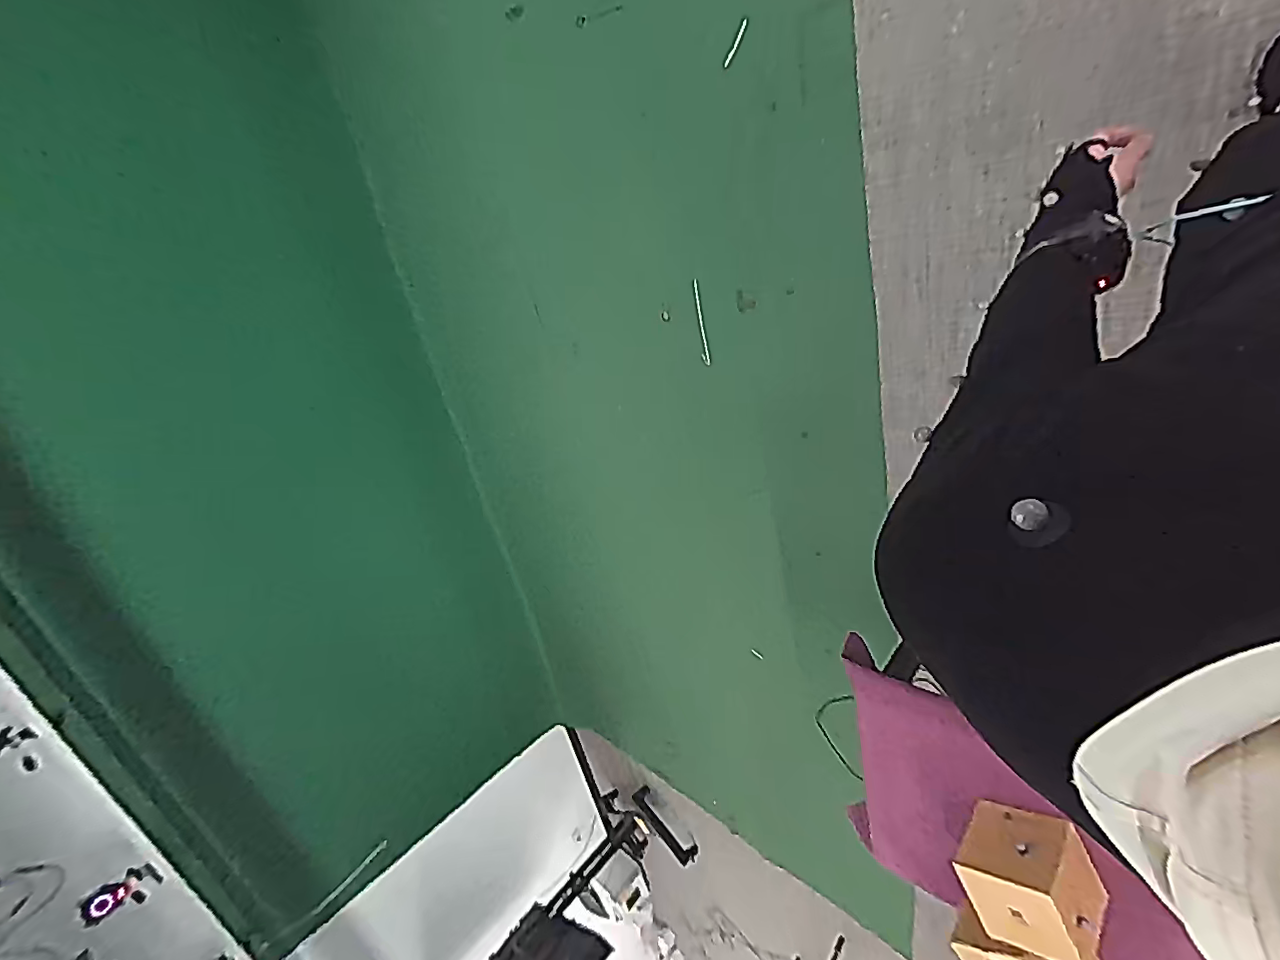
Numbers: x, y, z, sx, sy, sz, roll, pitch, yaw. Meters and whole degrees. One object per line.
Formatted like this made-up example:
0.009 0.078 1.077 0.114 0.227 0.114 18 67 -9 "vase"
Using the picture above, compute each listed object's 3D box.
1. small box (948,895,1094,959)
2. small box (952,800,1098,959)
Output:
0.791 0.973 1.124 0.179 0.176 0.168 53 143 7 "small box"
0.741 0.761 1.040 0.168 0.176 0.179 -22 98 52 "small box"
